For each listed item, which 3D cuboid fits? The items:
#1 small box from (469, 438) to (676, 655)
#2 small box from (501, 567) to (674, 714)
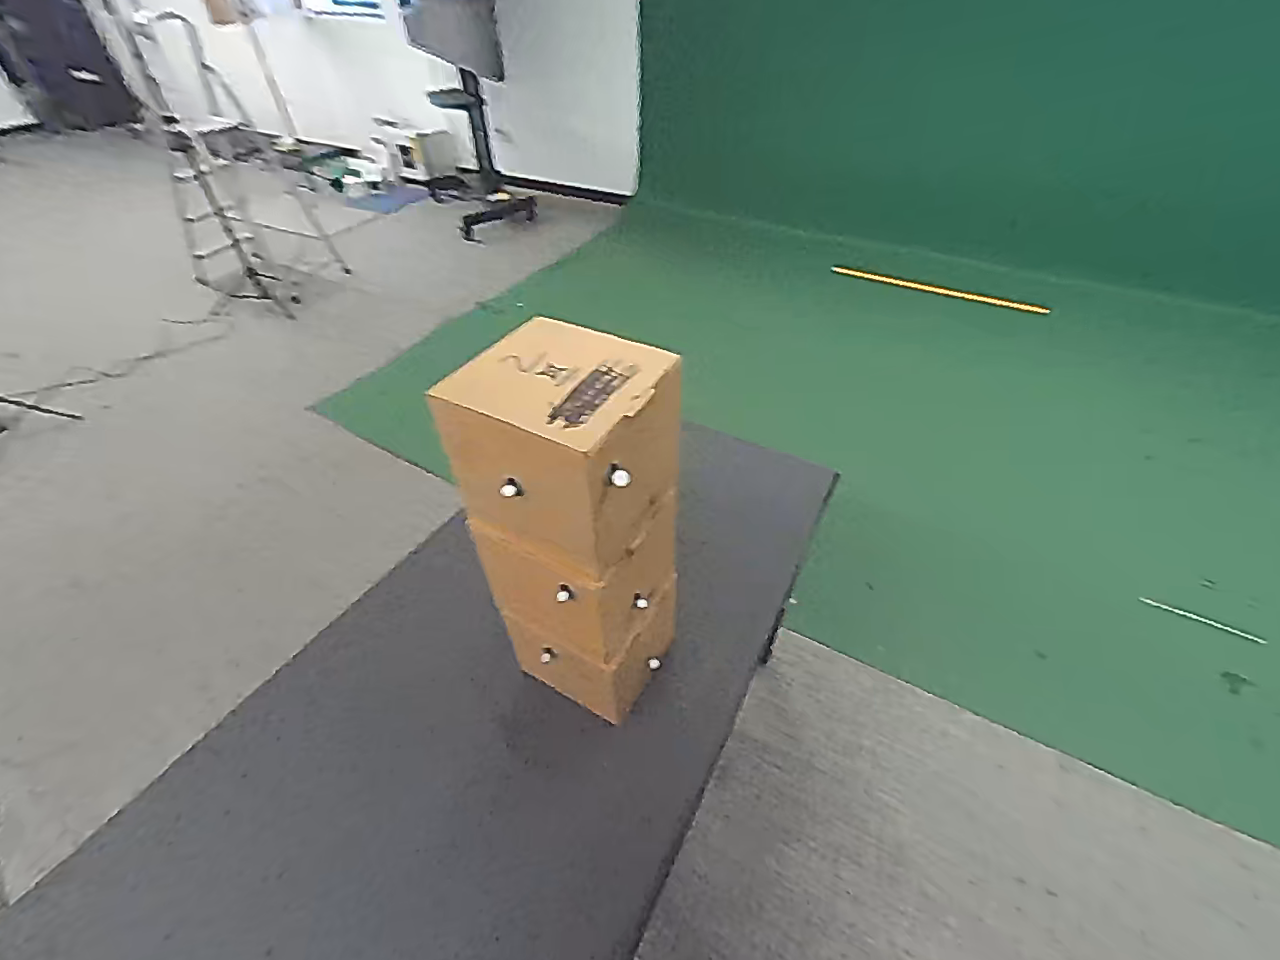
[{"bbox_3d":[-0.073,0.081,0.658,0.179,0.176,0.168,22,48,21],"label":"small box"},{"bbox_3d":[-0.067,0.199,0.770,0.179,0.176,0.168,22,49,21],"label":"small box"}]
